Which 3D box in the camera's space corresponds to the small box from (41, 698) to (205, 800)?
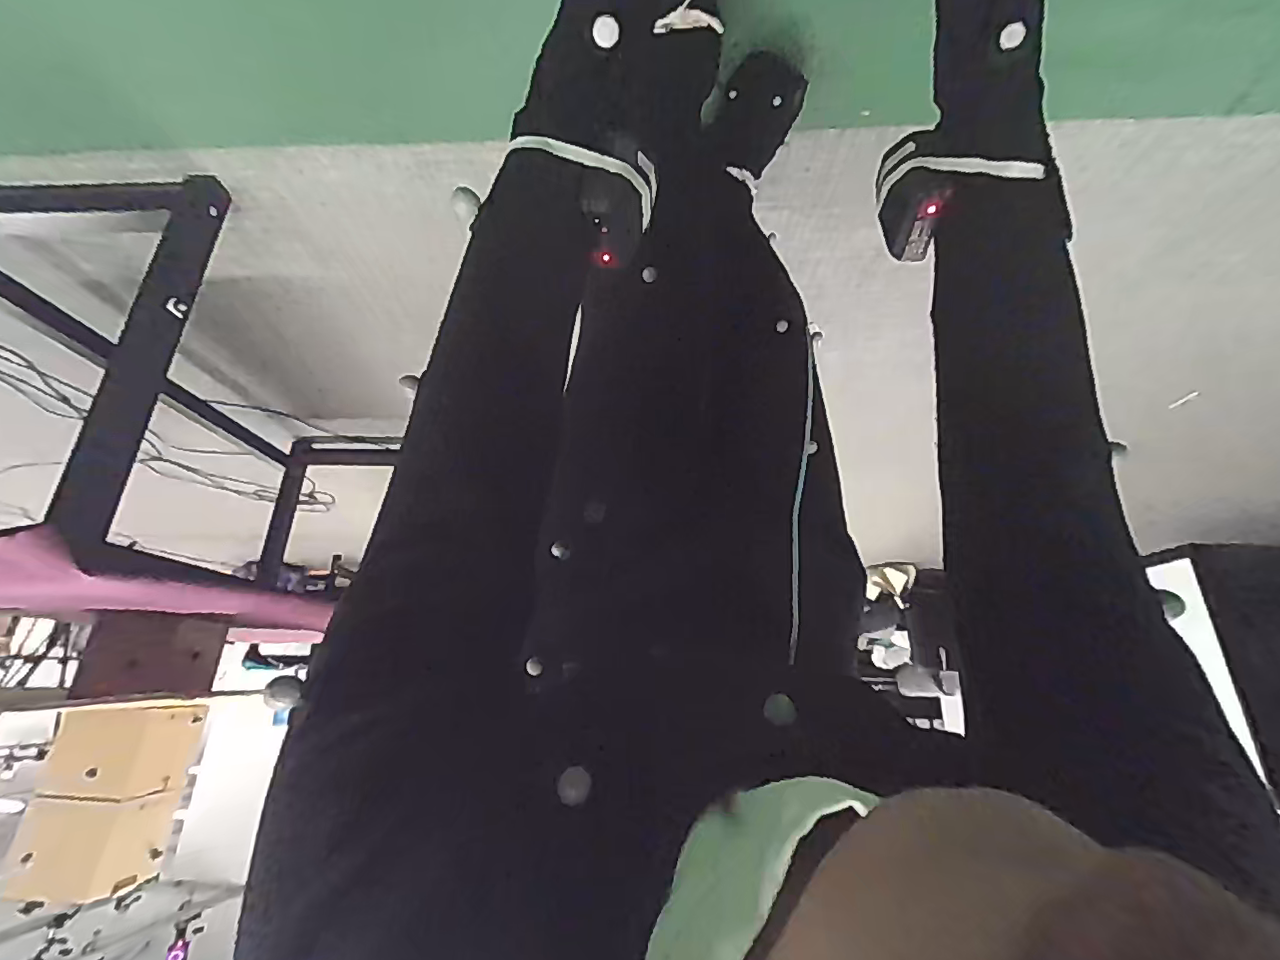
[{"bbox_3d":[-1.071,0.560,1.143,0.179,0.176,0.168,4,159,1],"label":"small box"}]
